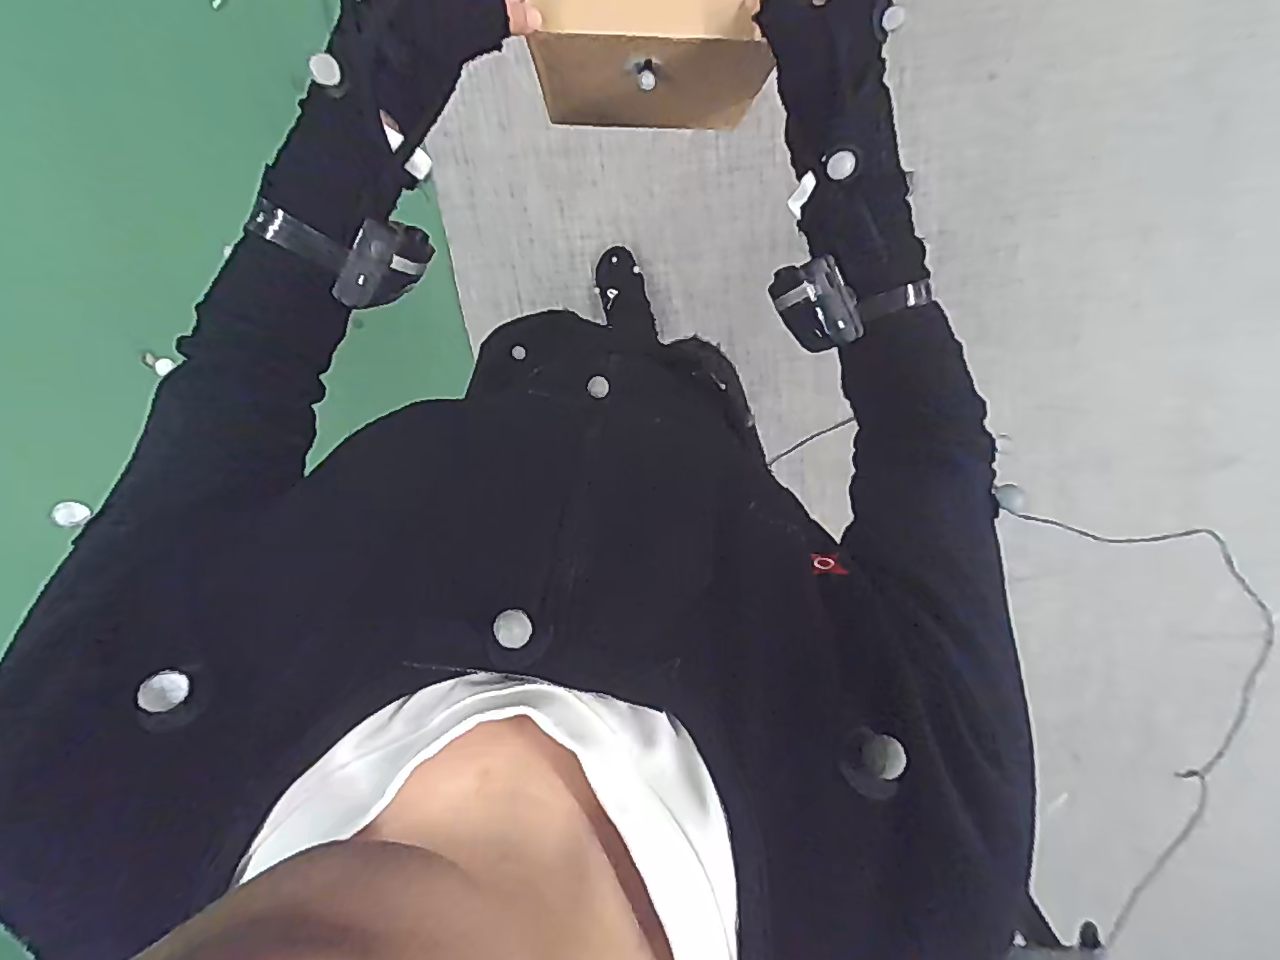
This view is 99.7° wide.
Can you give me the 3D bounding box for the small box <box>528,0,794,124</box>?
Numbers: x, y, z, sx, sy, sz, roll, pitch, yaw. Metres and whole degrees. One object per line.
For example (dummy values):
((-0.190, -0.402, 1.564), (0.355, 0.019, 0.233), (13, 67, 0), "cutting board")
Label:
((0.011, -0.392, 0.410), (0.179, 0.176, 0.168), (-1, 106, -4), "small box")
